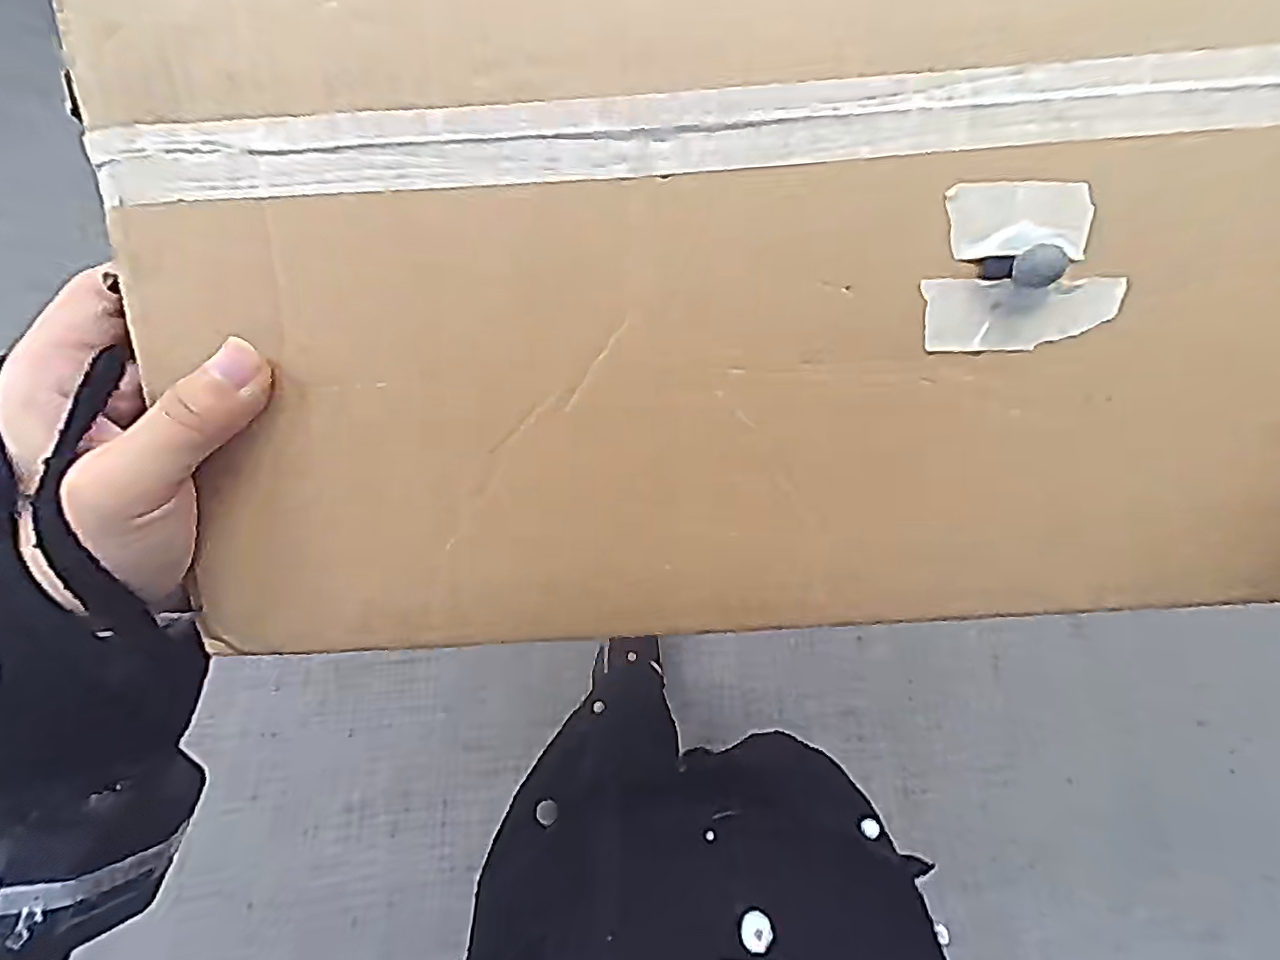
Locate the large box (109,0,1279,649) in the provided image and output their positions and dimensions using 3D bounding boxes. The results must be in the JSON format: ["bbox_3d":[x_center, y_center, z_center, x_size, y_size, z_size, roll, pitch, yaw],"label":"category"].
[{"bbox_3d":[0.038,-0.128,0.318,0.408,0.320,0.320,-4,100,0],"label":"large box"}]
